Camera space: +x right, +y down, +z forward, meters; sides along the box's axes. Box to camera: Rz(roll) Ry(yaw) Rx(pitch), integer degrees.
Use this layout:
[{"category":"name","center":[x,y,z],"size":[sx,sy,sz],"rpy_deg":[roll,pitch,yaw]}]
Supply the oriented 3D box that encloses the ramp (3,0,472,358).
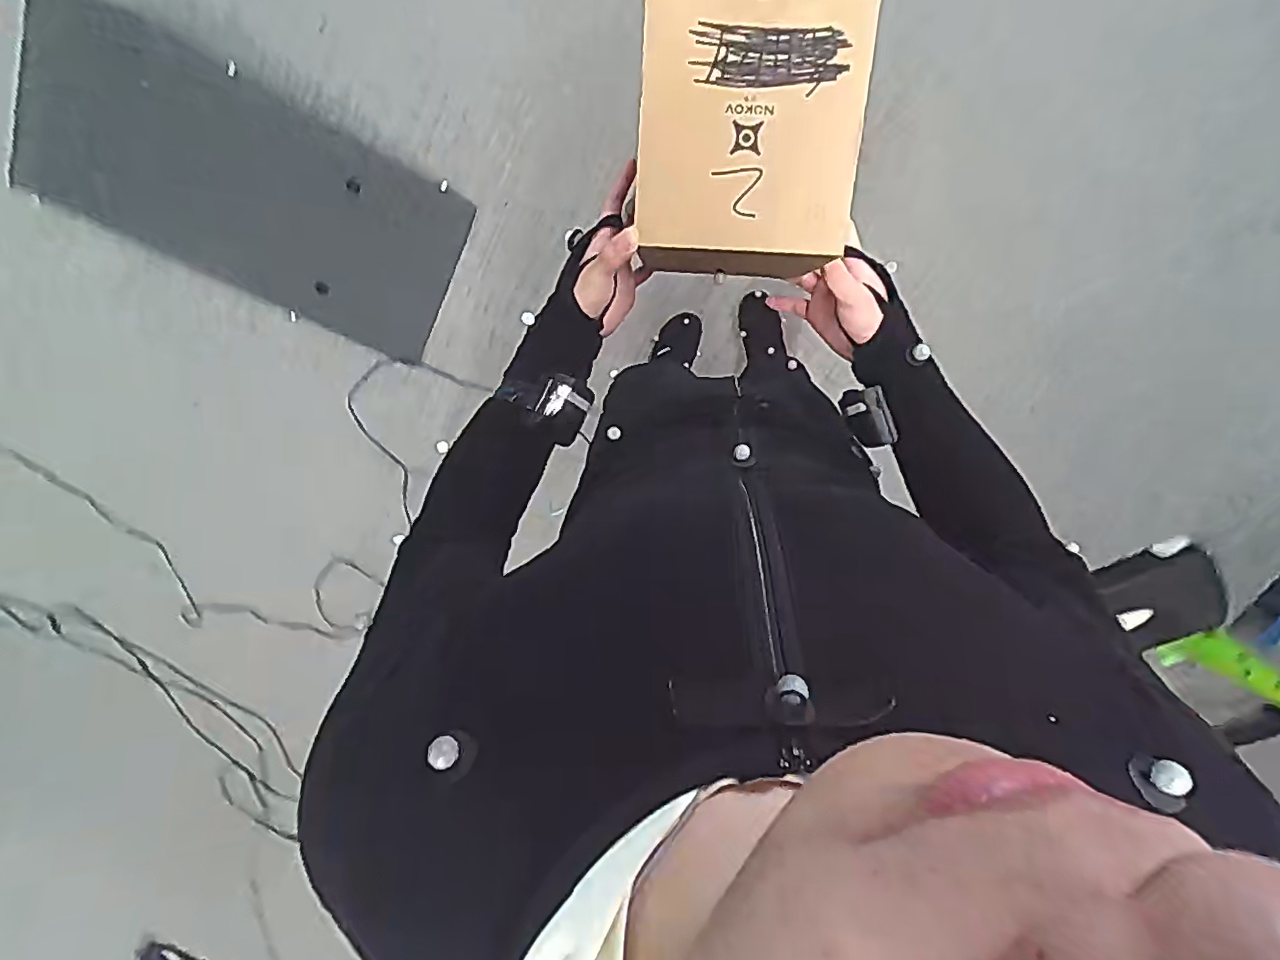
[{"category":"ramp","center":[-0.984,-0.751,1.369],"size":[0.991,0.206,0.509],"rpy_deg":[26,108,-7]}]
